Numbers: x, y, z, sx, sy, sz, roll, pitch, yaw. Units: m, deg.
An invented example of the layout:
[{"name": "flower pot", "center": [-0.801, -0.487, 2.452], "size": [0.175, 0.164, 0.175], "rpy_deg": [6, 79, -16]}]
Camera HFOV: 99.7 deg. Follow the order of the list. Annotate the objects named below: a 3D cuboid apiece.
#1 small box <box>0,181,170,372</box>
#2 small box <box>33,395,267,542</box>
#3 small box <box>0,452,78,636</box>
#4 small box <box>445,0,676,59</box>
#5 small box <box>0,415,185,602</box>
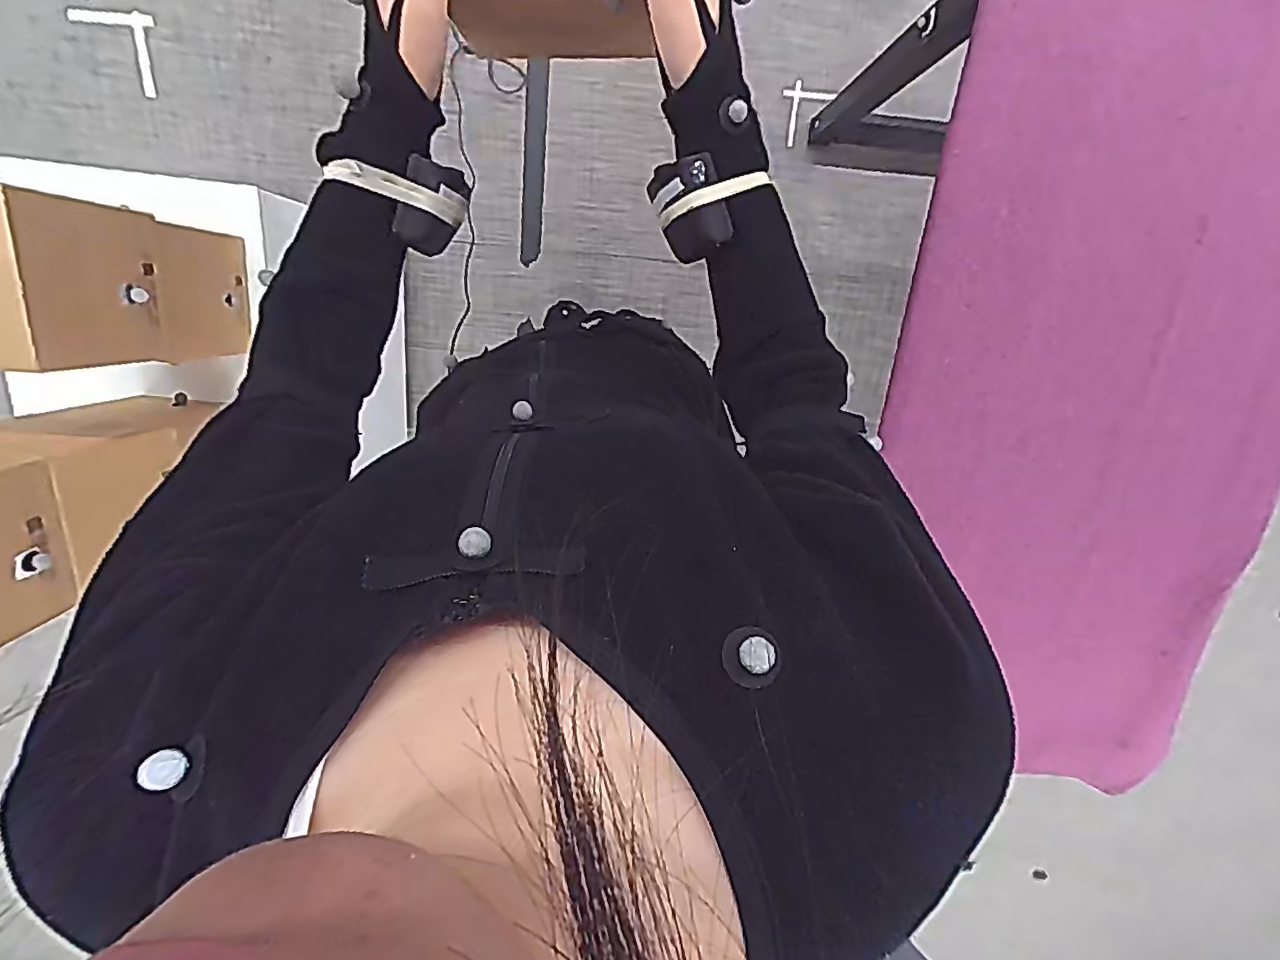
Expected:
[{"name": "small box", "center": [-0.640, -0.211, 0.550], "size": [0.179, 0.176, 0.168], "rpy_deg": [6, 108, -6]}, {"name": "small box", "center": [-0.684, -0.024, 0.779], "size": [0.179, 0.176, 0.168], "rpy_deg": [5, 108, -3]}, {"name": "small box", "center": [-0.669, 0.070, 0.469], "size": [0.179, 0.176, 0.168], "rpy_deg": [4, 108, -4]}, {"name": "small box", "center": [-0.057, -0.424, 0.374], "size": [0.179, 0.176, 0.168], "rpy_deg": [1, 107, 1]}, {"name": "small box", "center": [-0.674, 0.024, 0.624], "size": [0.179, 0.176, 0.168], "rpy_deg": [4, 107, -3]}]
